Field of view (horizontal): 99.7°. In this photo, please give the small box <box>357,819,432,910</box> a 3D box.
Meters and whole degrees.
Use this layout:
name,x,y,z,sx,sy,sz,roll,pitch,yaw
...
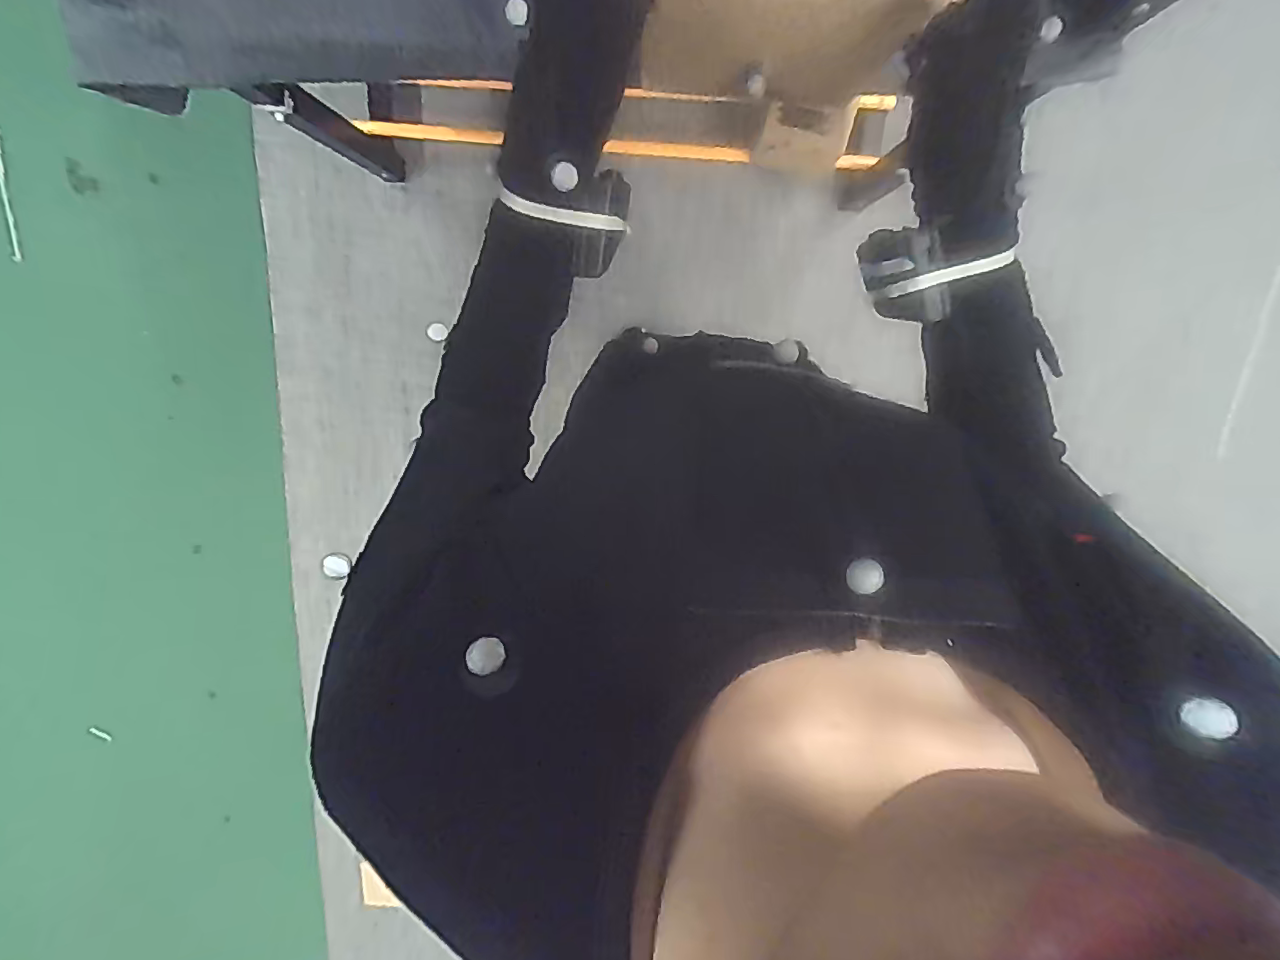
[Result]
name,x,y,z,sx,sy,sz,roll,pitch,yaw
small box,-0.787,1.236,1.749,0.168,0.176,0.179,4,104,2
